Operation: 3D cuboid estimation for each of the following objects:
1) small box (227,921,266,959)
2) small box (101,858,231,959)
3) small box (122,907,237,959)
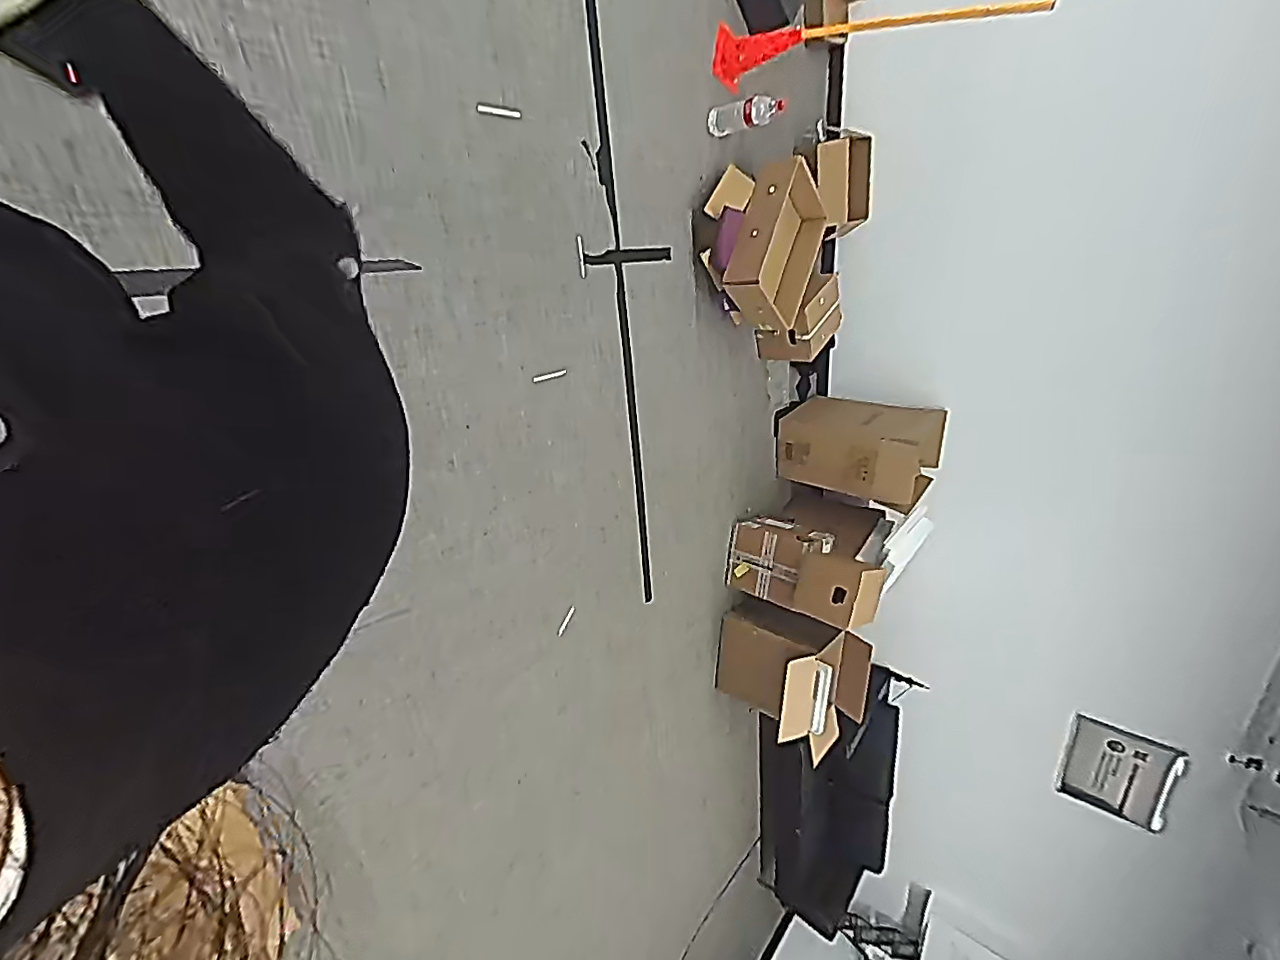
[{"bbox_3d":[-1.070,1.286,1.379,0.168,0.176,0.179,-36,126,-40],"label":"small box"},{"bbox_3d":[-1.106,1.033,1.261,0.168,0.176,0.179,-30,124,-42],"label":"small box"},{"bbox_3d":[-0.981,1.076,1.162,0.168,0.176,0.179,-26,121,-44],"label":"small box"}]
